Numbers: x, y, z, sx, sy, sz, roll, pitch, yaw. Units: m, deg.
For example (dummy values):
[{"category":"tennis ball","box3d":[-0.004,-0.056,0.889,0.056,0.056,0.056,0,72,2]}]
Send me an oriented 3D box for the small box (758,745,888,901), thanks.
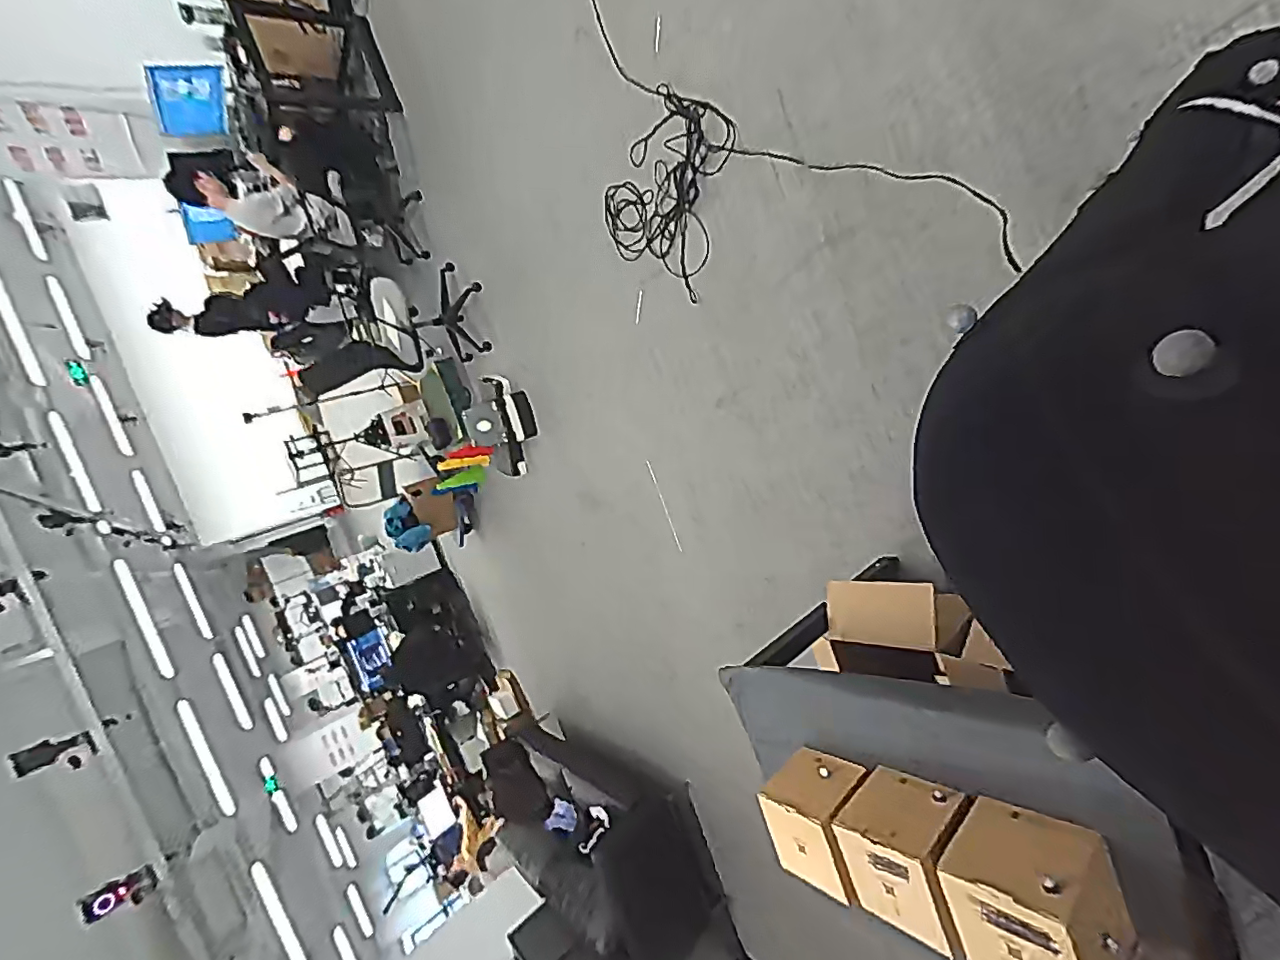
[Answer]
[{"category":"small box","box3d":[0.379,0.691,1.112,0.168,0.176,0.179,-13,98,55]}]
